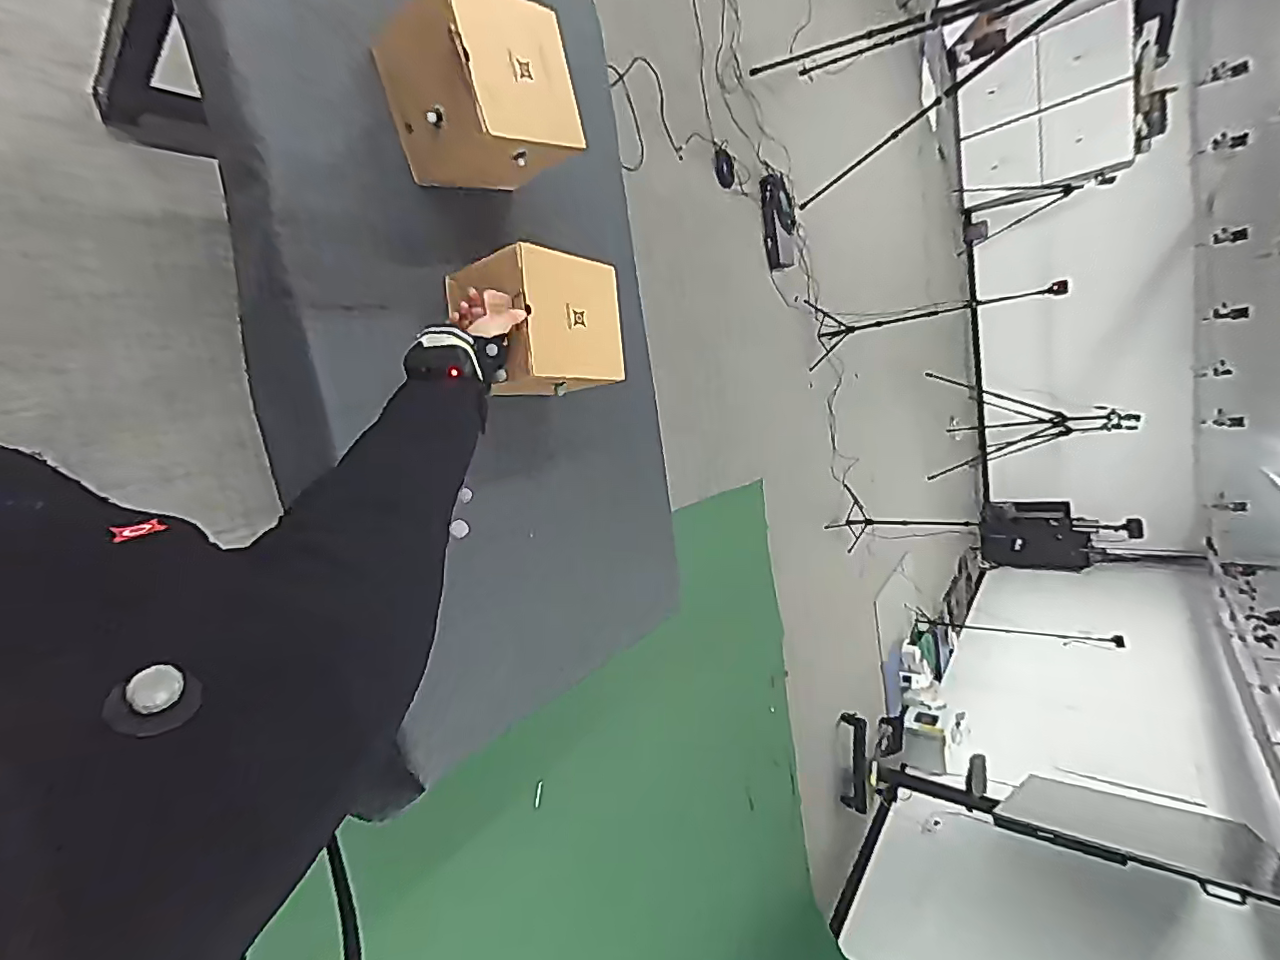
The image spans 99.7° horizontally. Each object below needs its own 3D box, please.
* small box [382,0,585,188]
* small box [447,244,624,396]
[{"bbox_3d":[-0.206,-0.497,0.705,0.179,0.176,0.168,-32,114,-48],"label":"small box"},{"bbox_3d":[-0.146,-0.211,0.766,0.179,0.176,0.168,-11,97,-51],"label":"small box"}]
